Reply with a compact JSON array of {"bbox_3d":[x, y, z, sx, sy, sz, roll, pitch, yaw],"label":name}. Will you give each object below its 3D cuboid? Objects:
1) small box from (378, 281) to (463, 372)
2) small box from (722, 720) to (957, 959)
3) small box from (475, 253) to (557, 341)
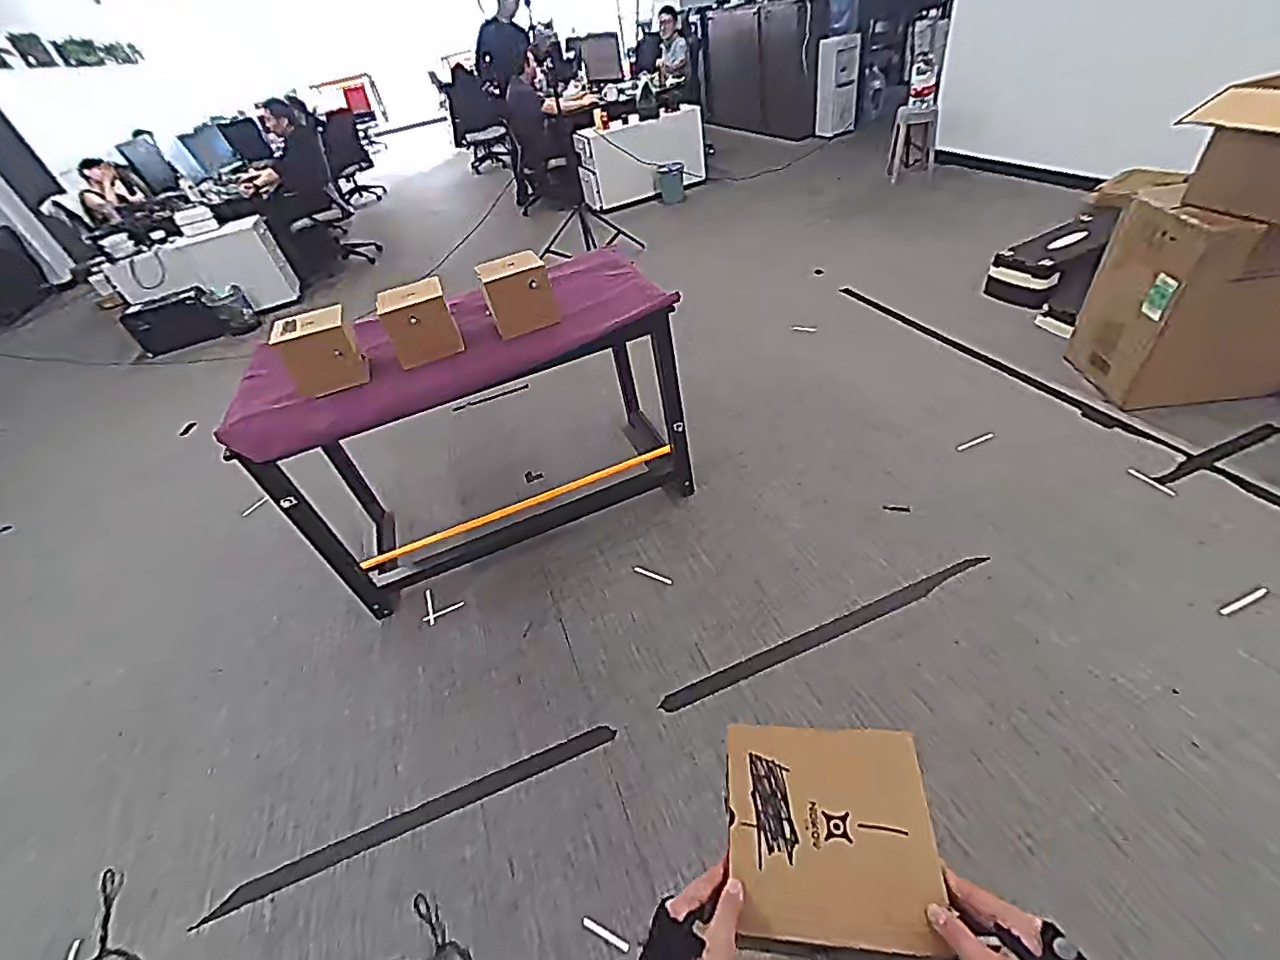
[{"bbox_3d":[-0.611,-0.432,1.521,0.179,0.176,0.168,-22,42,-9],"label":"small box"},{"bbox_3d":[0.174,0.351,0.527,0.179,0.176,0.168,-3,46,11],"label":"small box"},{"bbox_3d":[-0.349,-0.523,1.550,0.179,0.176,0.168,-23,40,-10],"label":"small box"}]
